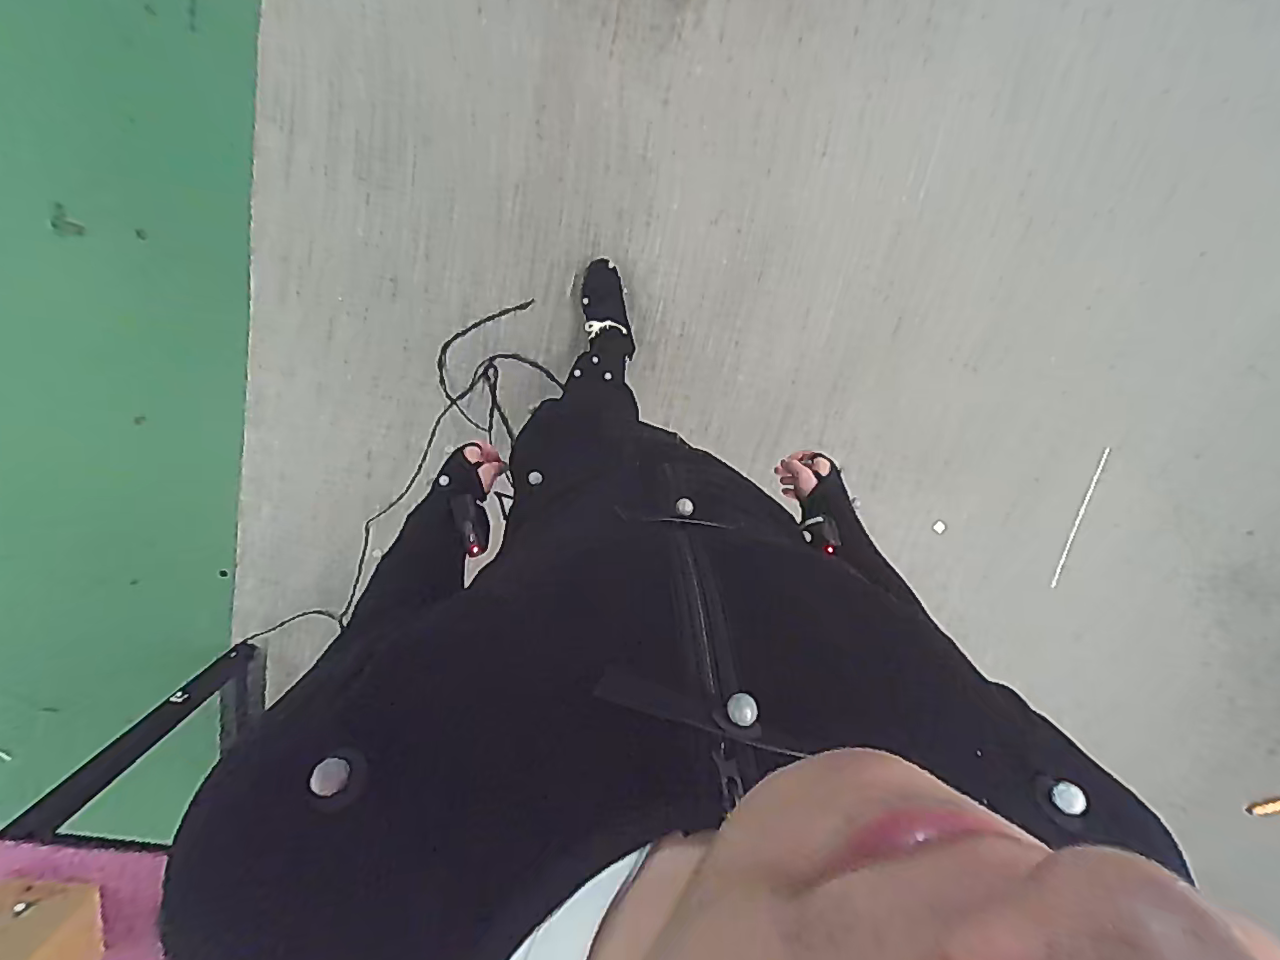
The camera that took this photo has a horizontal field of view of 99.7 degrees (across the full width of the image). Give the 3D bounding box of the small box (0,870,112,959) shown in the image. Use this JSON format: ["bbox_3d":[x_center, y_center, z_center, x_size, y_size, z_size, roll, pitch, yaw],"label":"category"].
[{"bbox_3d":[-1.073,0.829,0.938,0.168,0.176,0.179,10,103,-6],"label":"small box"}]
